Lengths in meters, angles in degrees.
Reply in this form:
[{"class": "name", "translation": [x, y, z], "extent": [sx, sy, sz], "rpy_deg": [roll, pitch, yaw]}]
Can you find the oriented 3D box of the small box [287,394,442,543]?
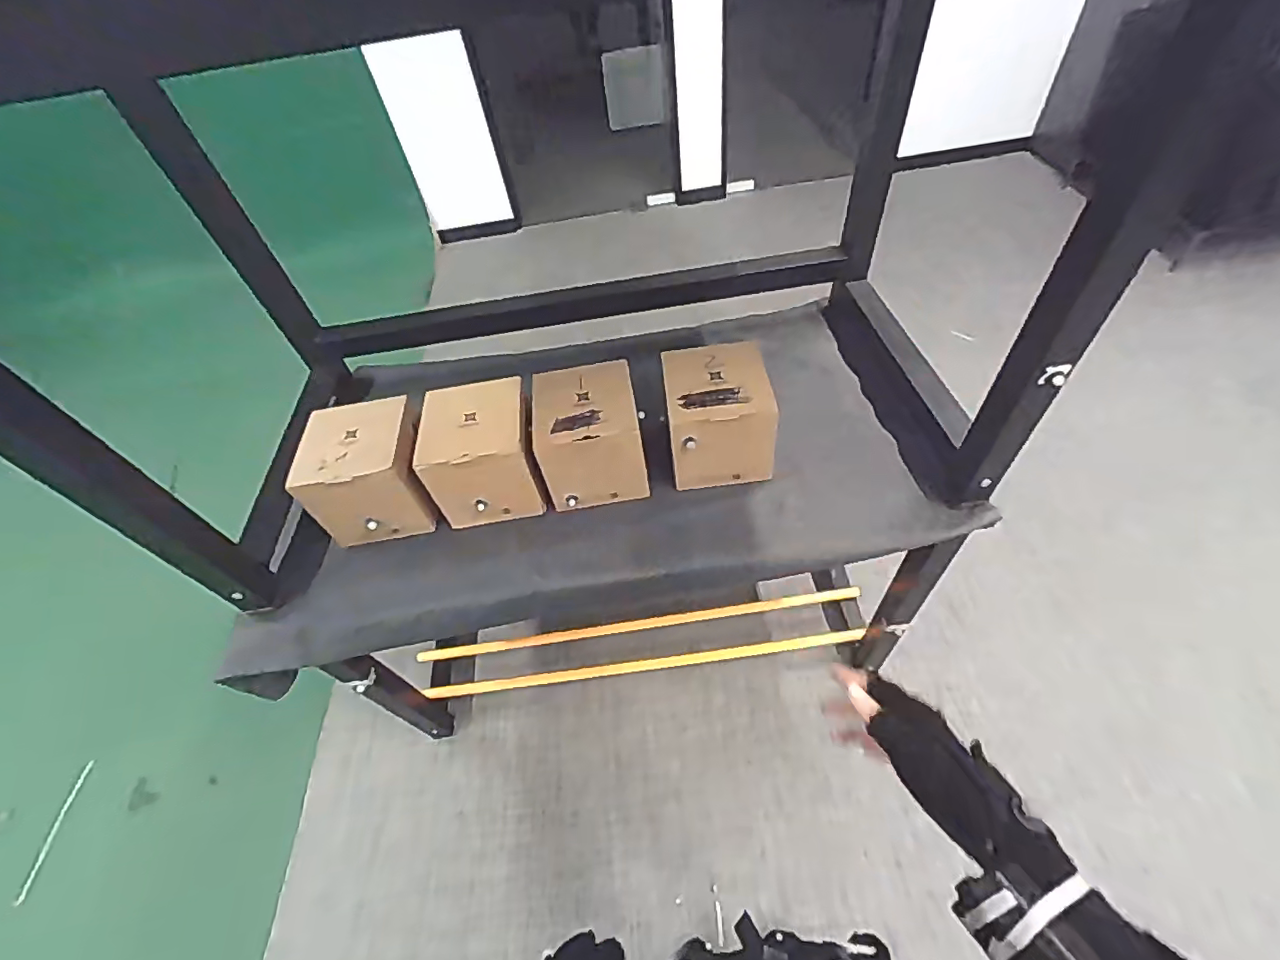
[{"class": "small box", "translation": [-0.454, -0.018, 0.927], "extent": [0.168, 0.176, 0.179], "rpy_deg": [-10, 50, 0]}]
